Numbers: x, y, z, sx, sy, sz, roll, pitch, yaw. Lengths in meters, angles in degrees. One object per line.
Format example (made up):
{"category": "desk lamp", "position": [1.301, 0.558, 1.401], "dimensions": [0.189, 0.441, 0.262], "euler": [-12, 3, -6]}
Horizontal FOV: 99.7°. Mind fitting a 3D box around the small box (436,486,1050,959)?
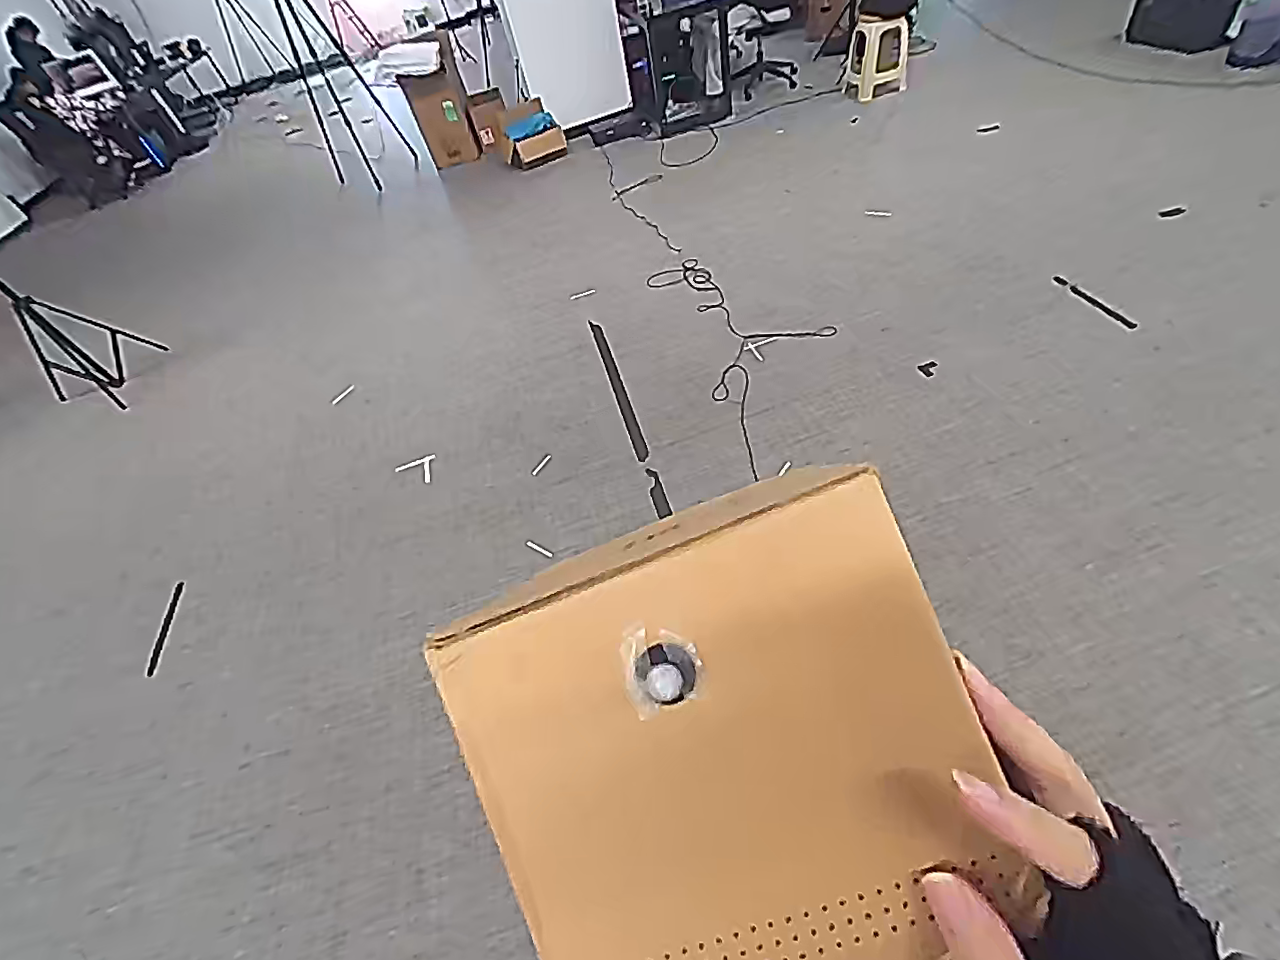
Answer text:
{"category": "small box", "position": [0.042, 0.112, 0.266], "dimensions": [0.179, 0.168, 0.176], "euler": [-22, 88, 7]}
